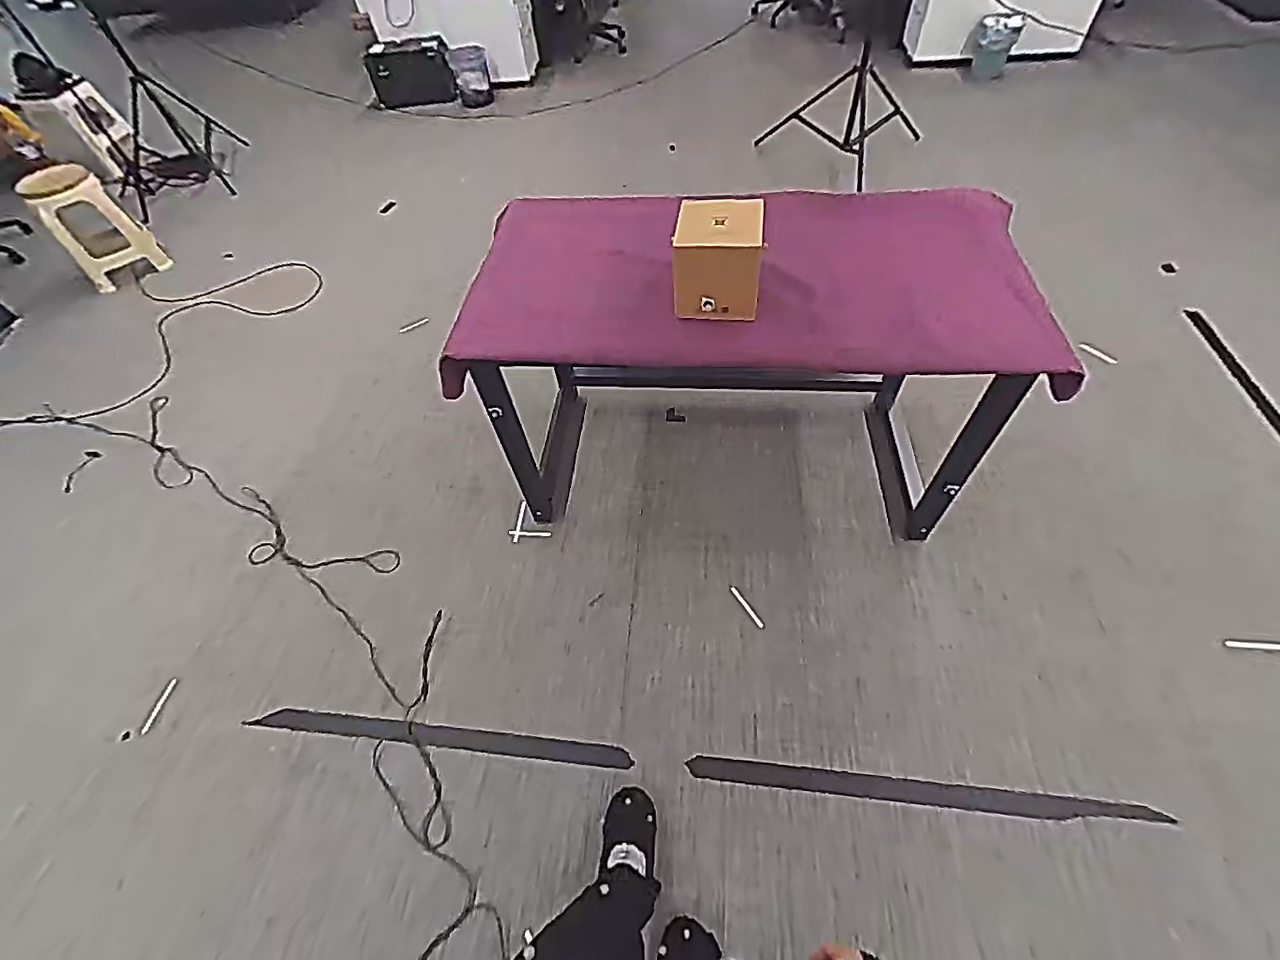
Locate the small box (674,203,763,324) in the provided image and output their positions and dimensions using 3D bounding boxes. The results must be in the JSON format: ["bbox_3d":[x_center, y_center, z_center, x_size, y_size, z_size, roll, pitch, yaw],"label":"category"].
[{"bbox_3d":[0.160,-0.444,1.110,0.168,0.176,0.179,3,54,9],"label":"small box"}]
